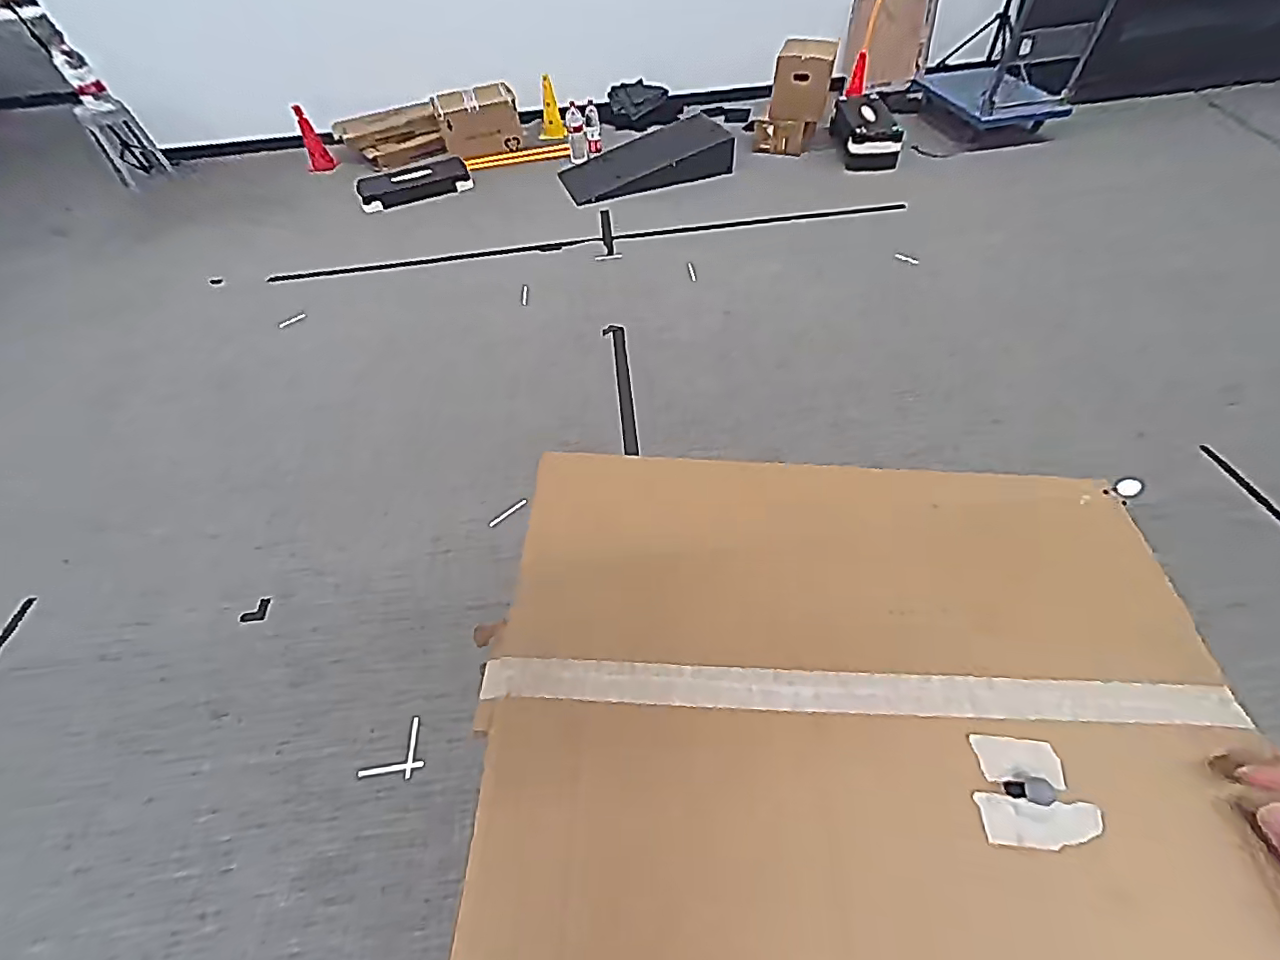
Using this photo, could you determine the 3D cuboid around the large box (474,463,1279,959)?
[{"bbox_3d":[0.119,0.206,0.428,0.408,0.320,0.320,3,55,-1],"label":"large box"}]
